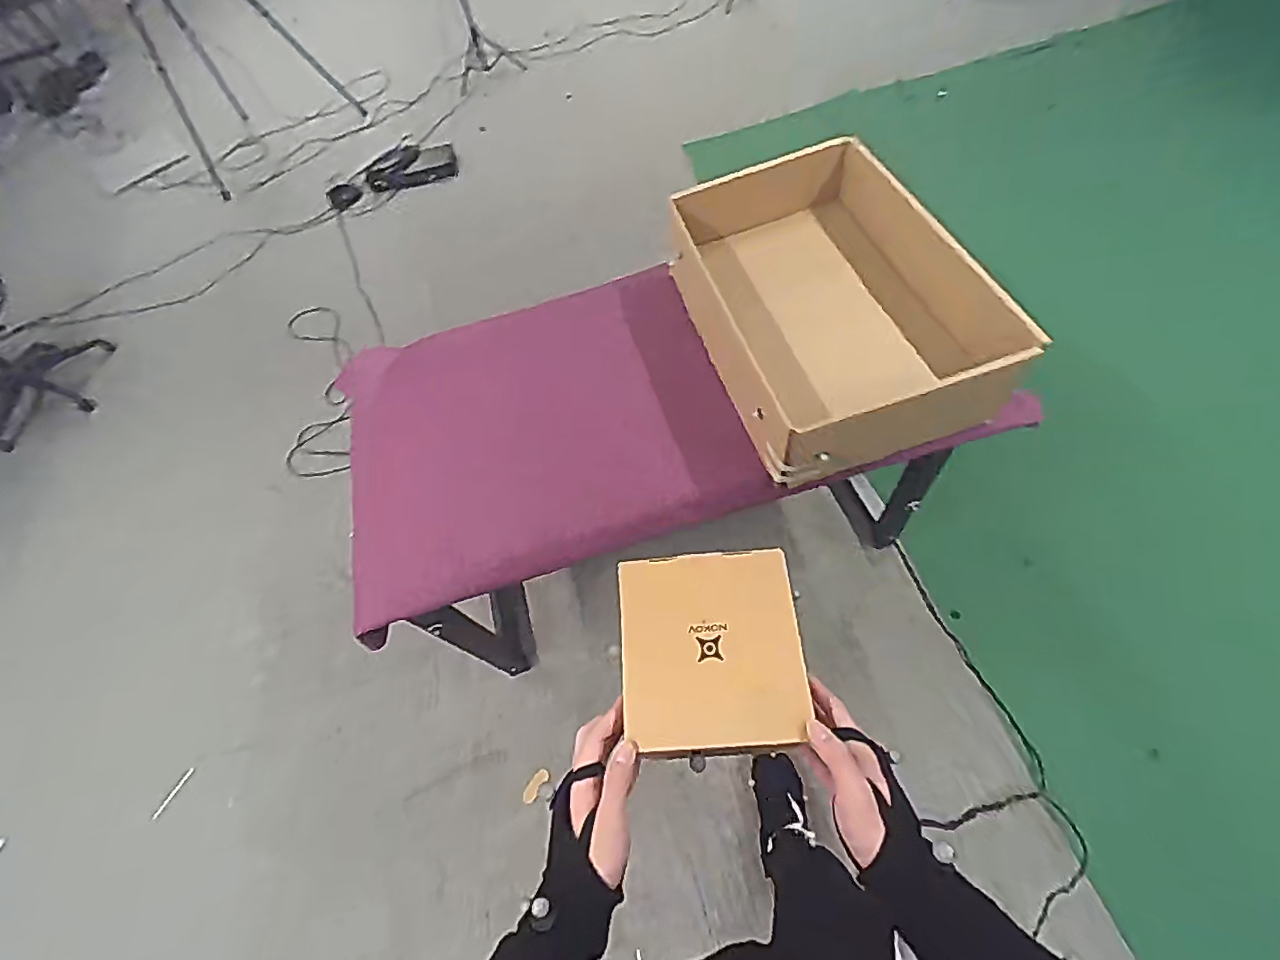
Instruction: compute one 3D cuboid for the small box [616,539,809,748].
[{"bbox_3d":[0.070,0.180,0.567,0.168,0.176,0.179,-6,59,5],"label":"small box"}]
